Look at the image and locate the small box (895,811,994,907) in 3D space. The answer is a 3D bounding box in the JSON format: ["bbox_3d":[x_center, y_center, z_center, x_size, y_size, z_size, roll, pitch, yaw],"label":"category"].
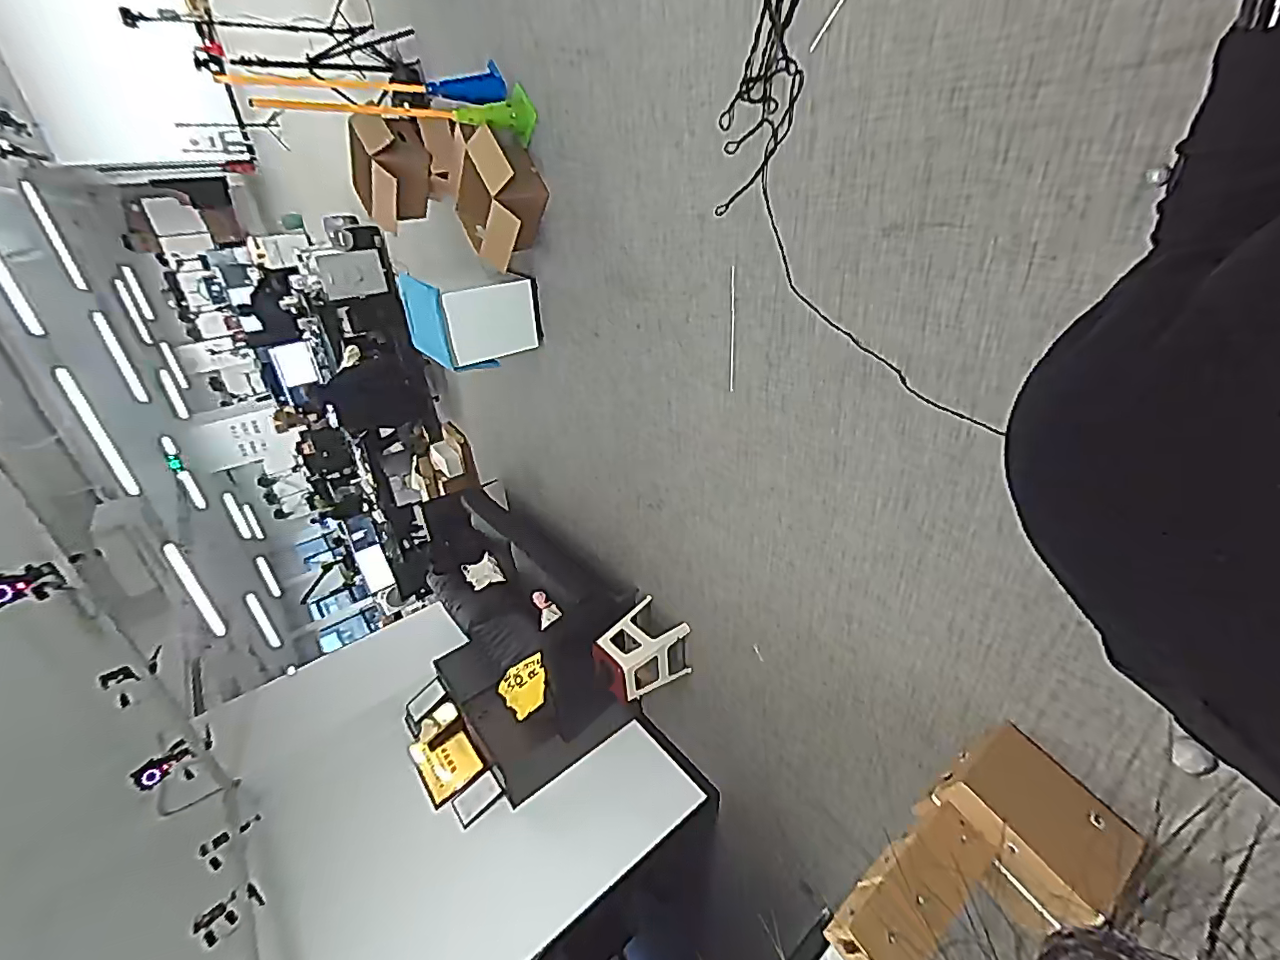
[{"bbox_3d":[0.888,1.113,1.581,0.168,0.176,0.179,46,144,30],"label":"small box"}]

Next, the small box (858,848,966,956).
[{"bbox_3d":[0.754,1.164,1.504,0.179,0.176,0.168,47,145,29],"label":"small box"}]
